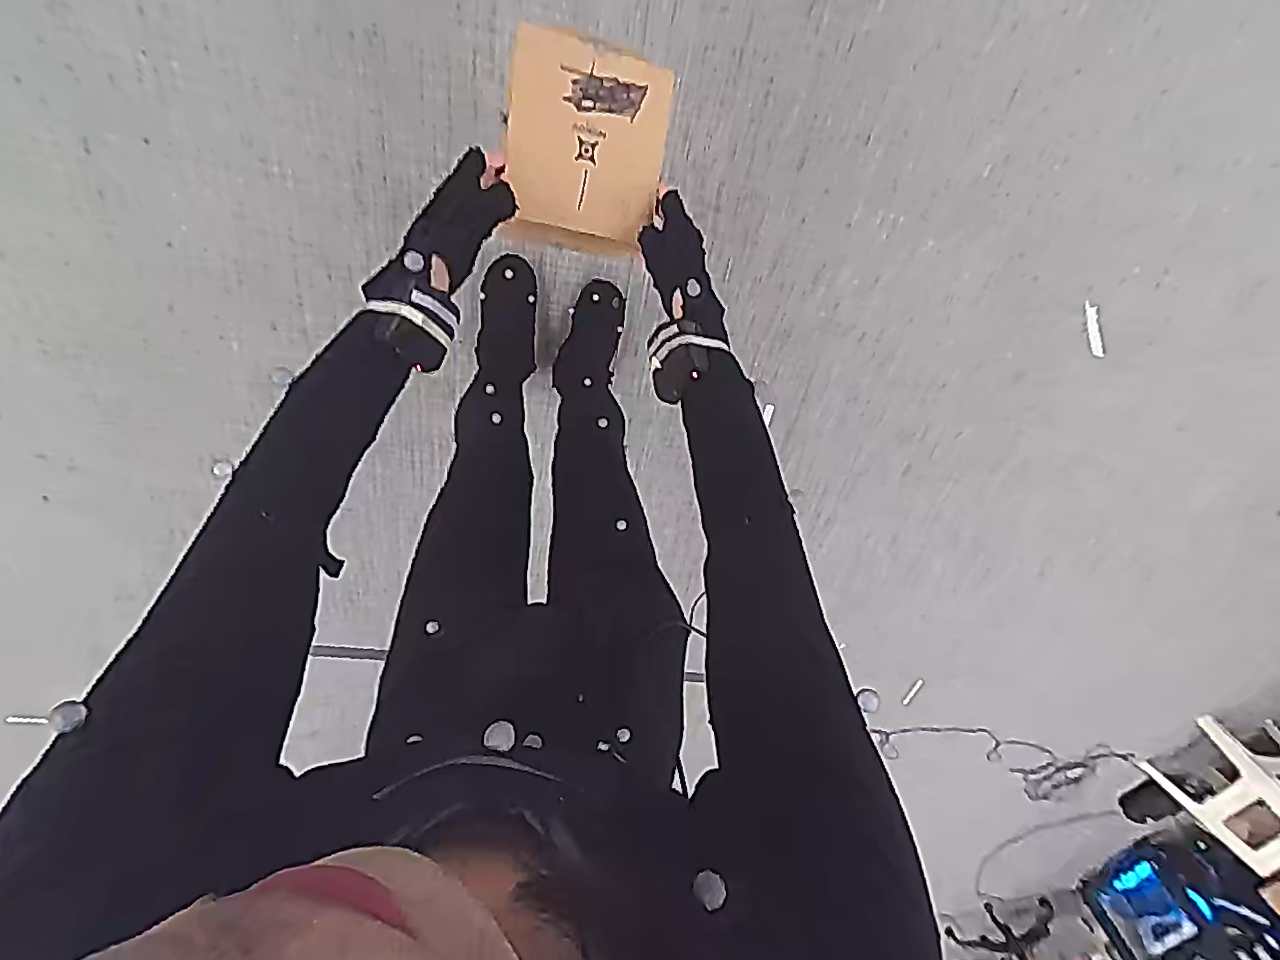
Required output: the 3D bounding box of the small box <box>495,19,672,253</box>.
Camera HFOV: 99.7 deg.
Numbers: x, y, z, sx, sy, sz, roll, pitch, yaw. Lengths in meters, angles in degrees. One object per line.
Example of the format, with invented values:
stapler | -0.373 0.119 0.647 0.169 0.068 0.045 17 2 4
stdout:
small box | -0.078 -0.380 0.638 0.168 0.176 0.179 4 107 -18
